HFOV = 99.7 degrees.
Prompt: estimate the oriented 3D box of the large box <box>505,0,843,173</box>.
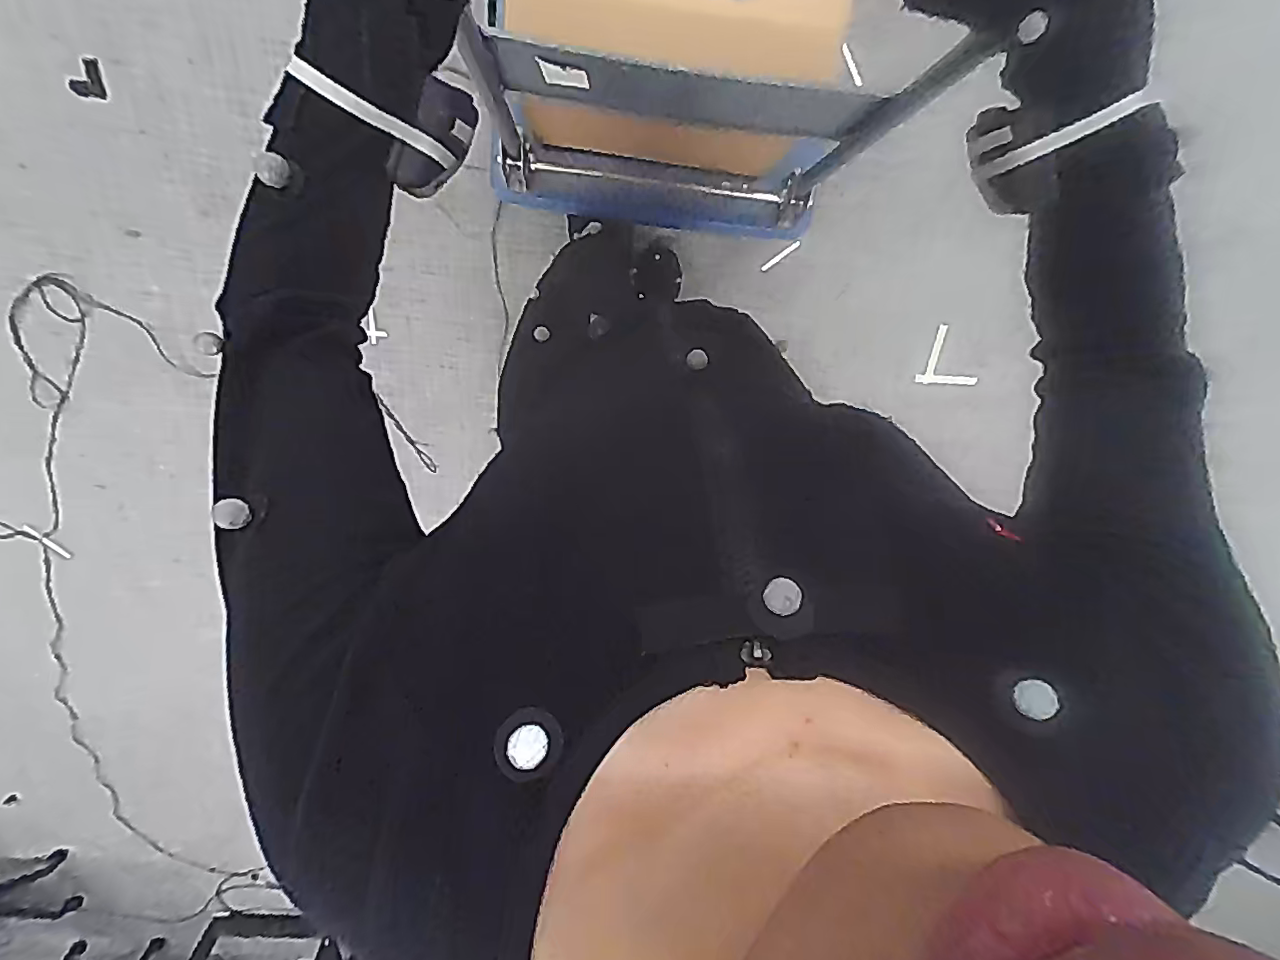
[{"bbox_3d":[0.037,-0.666,0.759,0.408,0.320,0.320,5,104,-6],"label":"large box"}]
